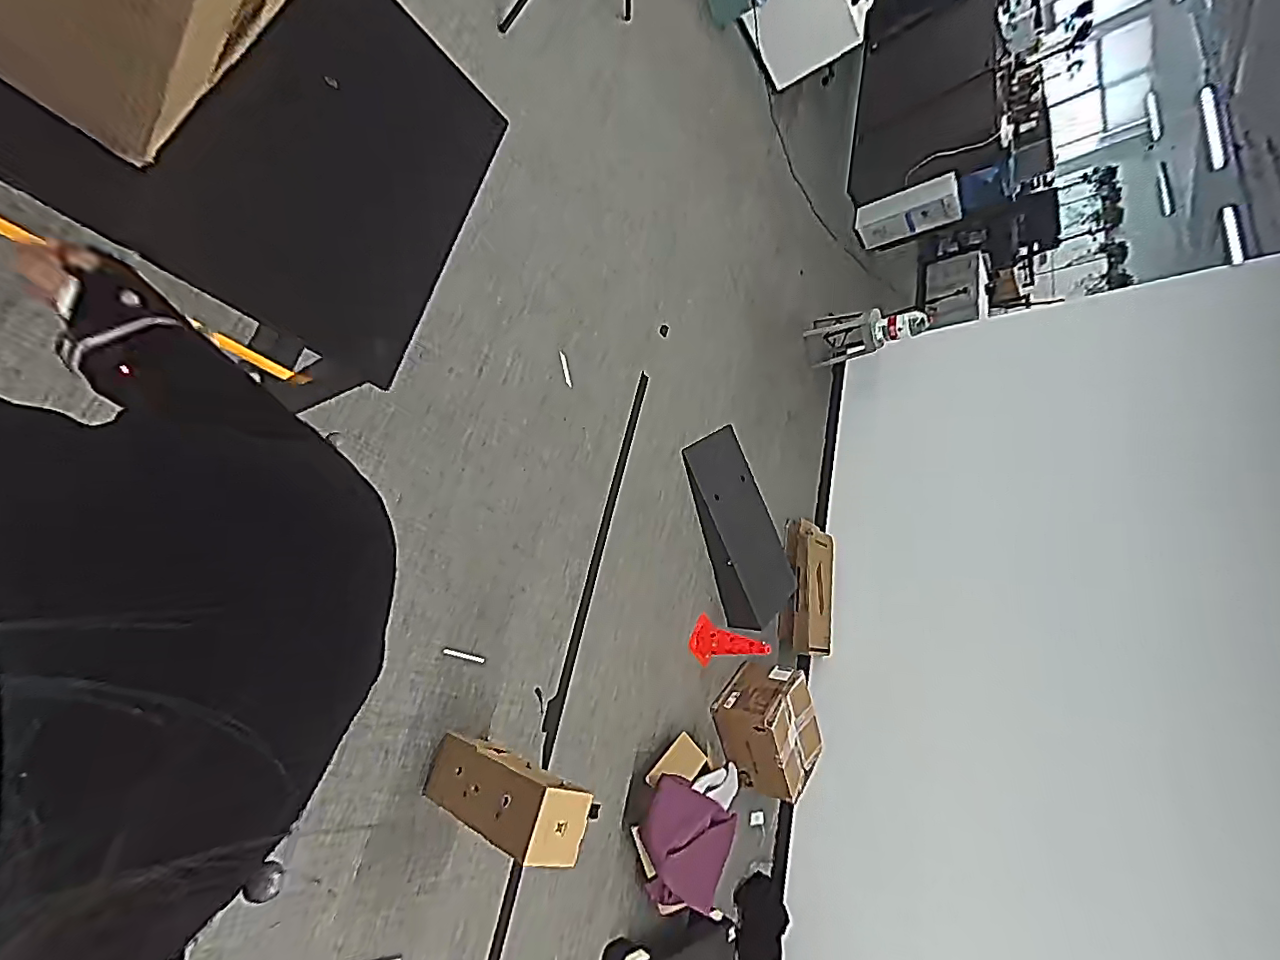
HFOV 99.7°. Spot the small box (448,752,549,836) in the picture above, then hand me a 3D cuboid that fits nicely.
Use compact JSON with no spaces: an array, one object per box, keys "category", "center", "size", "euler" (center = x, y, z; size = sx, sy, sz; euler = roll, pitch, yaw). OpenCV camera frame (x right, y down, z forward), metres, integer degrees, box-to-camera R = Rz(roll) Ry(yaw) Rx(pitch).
[{"category":"small box","center":[-0.389,0.865,1.487],"size":[0.179,0.176,0.168],"euler":[38,59,-40]}]

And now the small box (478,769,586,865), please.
[{"category":"small box","center":[-0.274,0.851,1.372],"size":[0.179,0.176,0.168],"euler":[38,59,-40]}]

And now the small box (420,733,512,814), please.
[{"category":"small box","center":[-0.515,0.866,1.593],"size":[0.168,0.176,0.179],"euler":[39,60,-40]}]
